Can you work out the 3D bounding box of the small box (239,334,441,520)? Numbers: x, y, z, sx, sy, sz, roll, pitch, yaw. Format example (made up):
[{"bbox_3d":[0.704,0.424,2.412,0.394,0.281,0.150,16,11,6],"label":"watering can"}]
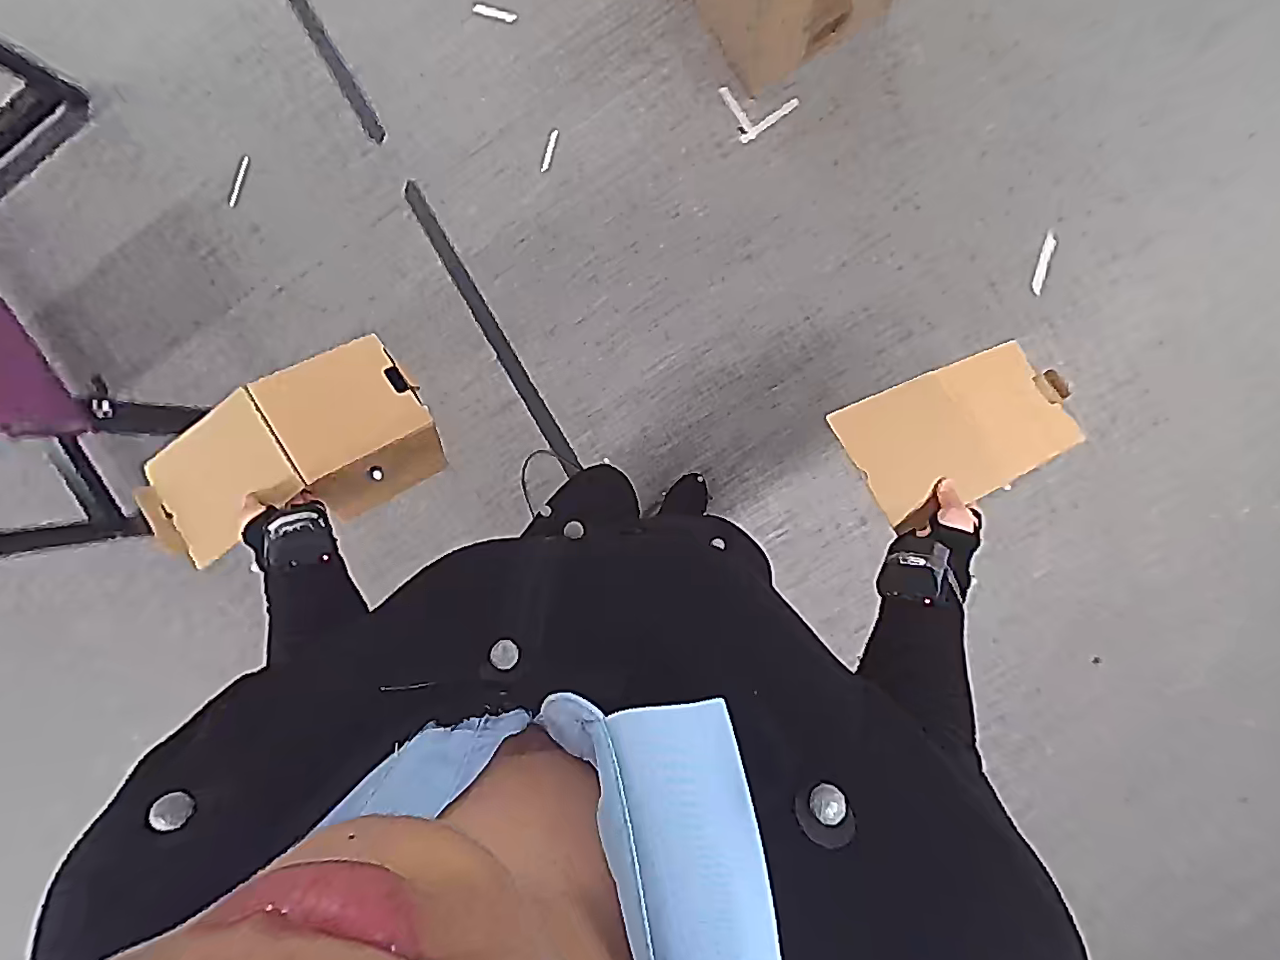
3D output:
[{"bbox_3d":[-0.408,-0.066,0.768,0.179,0.176,0.168,-33,81,-22],"label":"small box"}]
